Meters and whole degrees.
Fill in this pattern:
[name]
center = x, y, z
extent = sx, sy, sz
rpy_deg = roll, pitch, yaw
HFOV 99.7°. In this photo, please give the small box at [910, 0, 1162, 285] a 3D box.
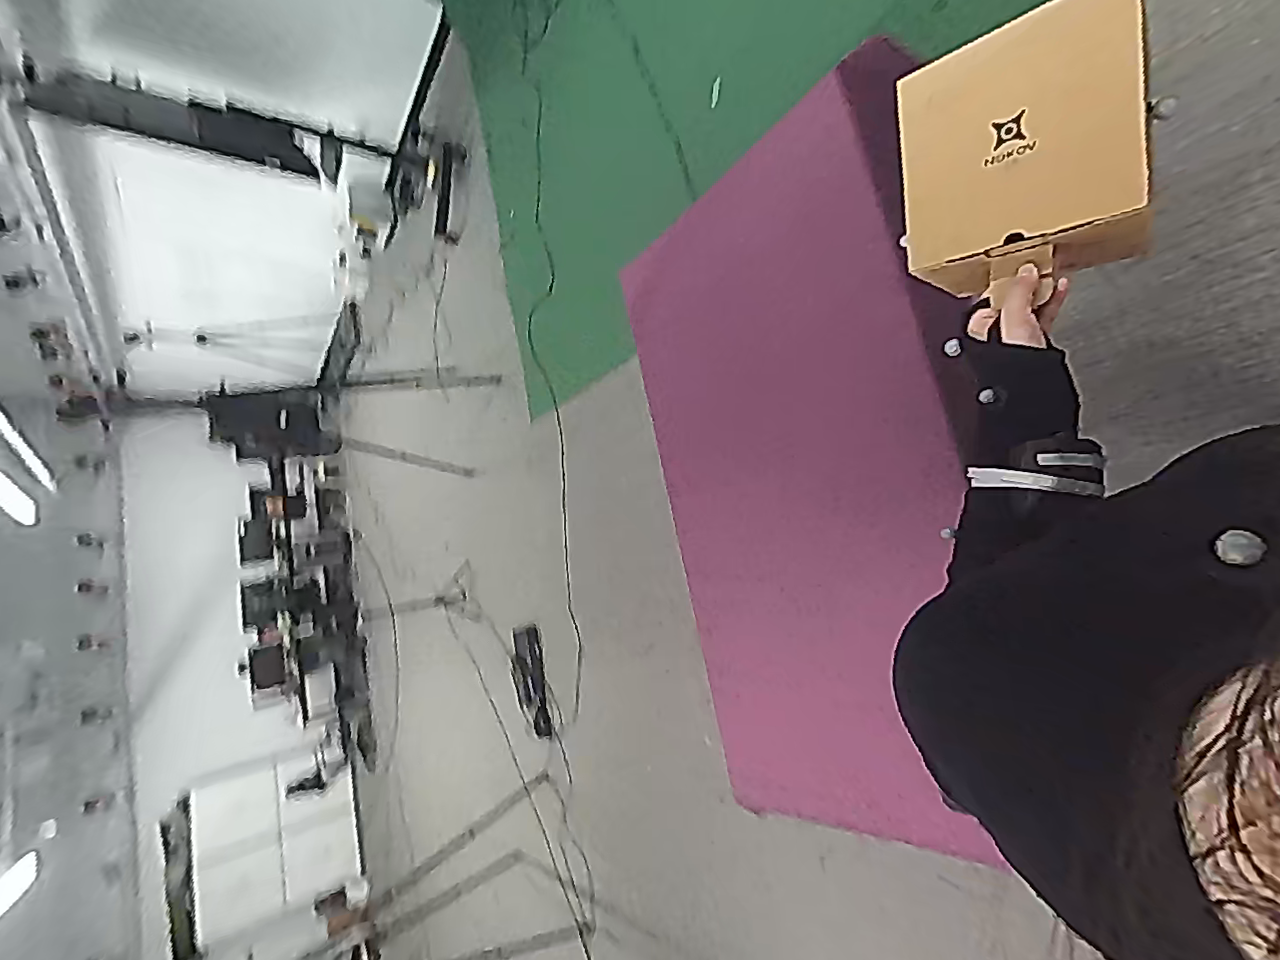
[small box]
center = 0.362, -0.295, 0.496
extent = 0.168, 0.176, 0.179
rpy_deg = 0, 98, 44
